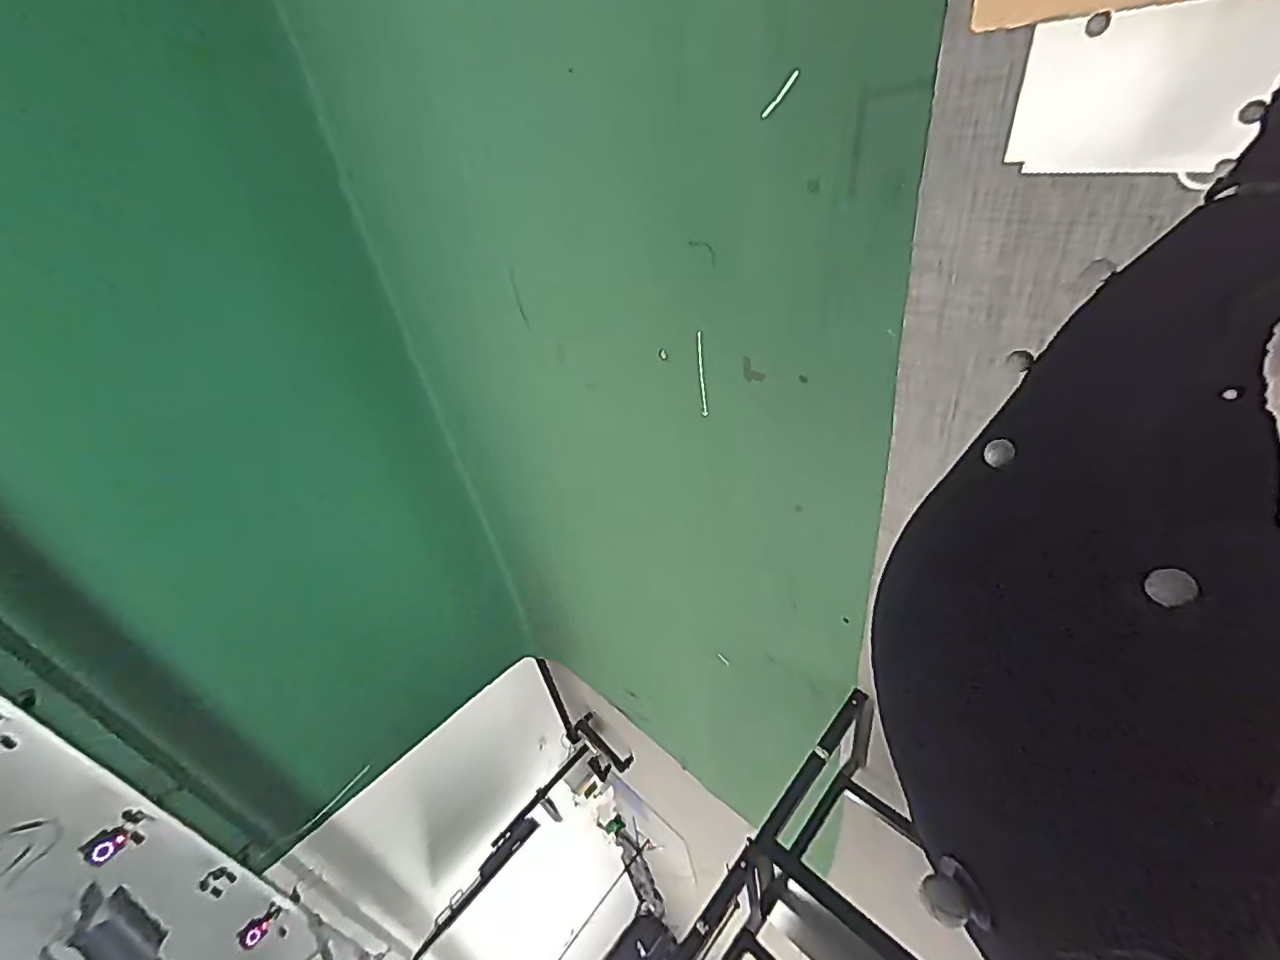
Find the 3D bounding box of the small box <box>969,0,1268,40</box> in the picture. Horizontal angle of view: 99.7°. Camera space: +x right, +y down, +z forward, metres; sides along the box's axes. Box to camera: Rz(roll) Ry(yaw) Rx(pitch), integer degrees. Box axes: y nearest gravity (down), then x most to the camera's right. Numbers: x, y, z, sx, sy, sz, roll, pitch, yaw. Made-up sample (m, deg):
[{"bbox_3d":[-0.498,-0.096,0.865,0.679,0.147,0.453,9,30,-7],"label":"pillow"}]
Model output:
[{"bbox_3d":[0.363,-0.415,0.365,0.179,0.176,0.168,24,137,38],"label":"small box"}]
